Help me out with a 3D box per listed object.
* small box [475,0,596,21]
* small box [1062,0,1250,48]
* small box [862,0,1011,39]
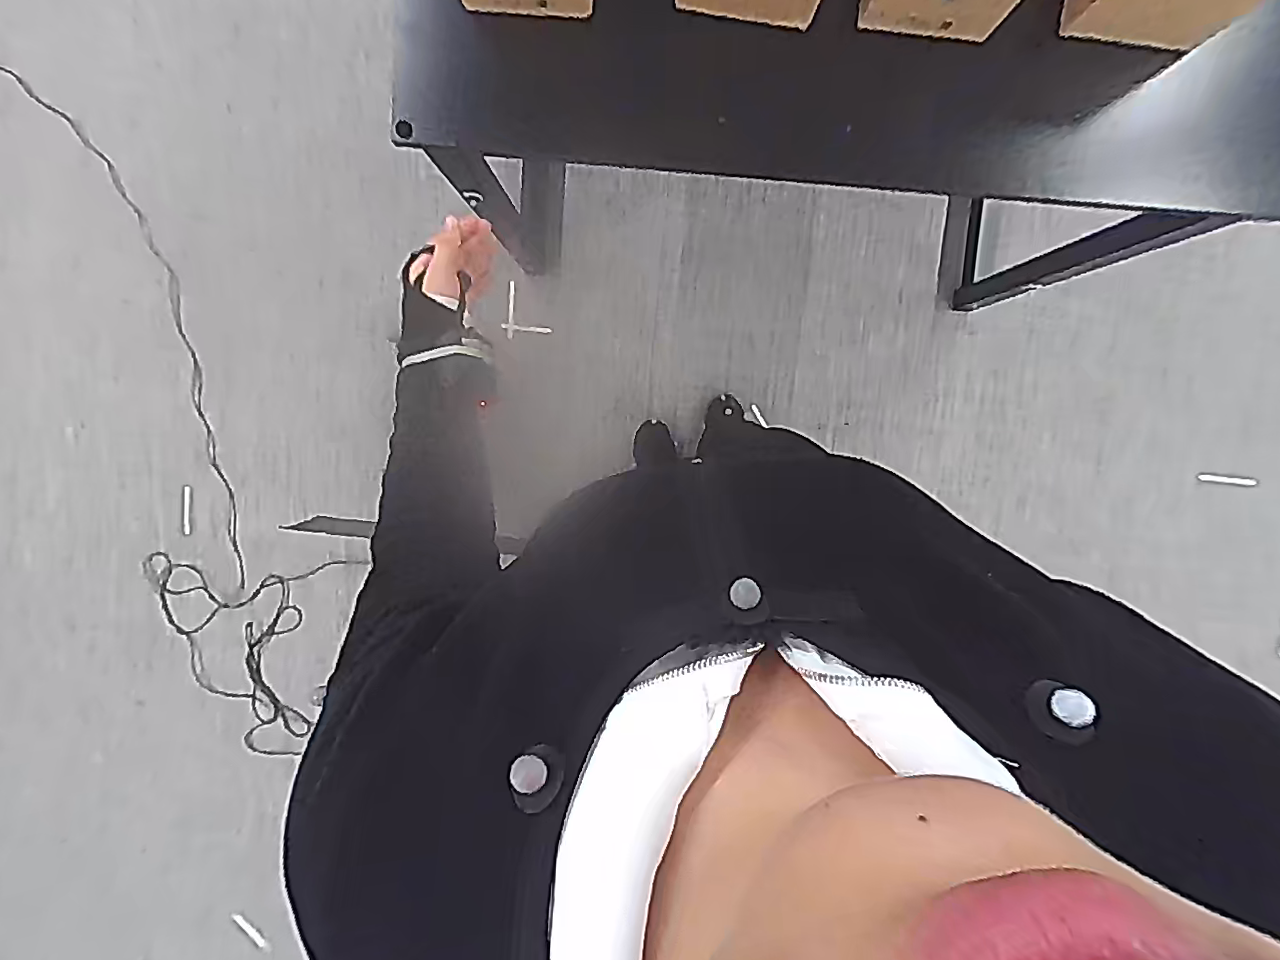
[{"bbox_3d":[-0.133,-0.682,0.615,0.168,0.176,0.179,4,97,1],"label":"small box"},{"bbox_3d":[0.632,-0.635,0.610,0.179,0.176,0.168,7,96,-1],"label":"small box"},{"bbox_3d":[0.371,-0.651,0.612,0.168,0.176,0.179,7,96,-1],"label":"small box"}]
